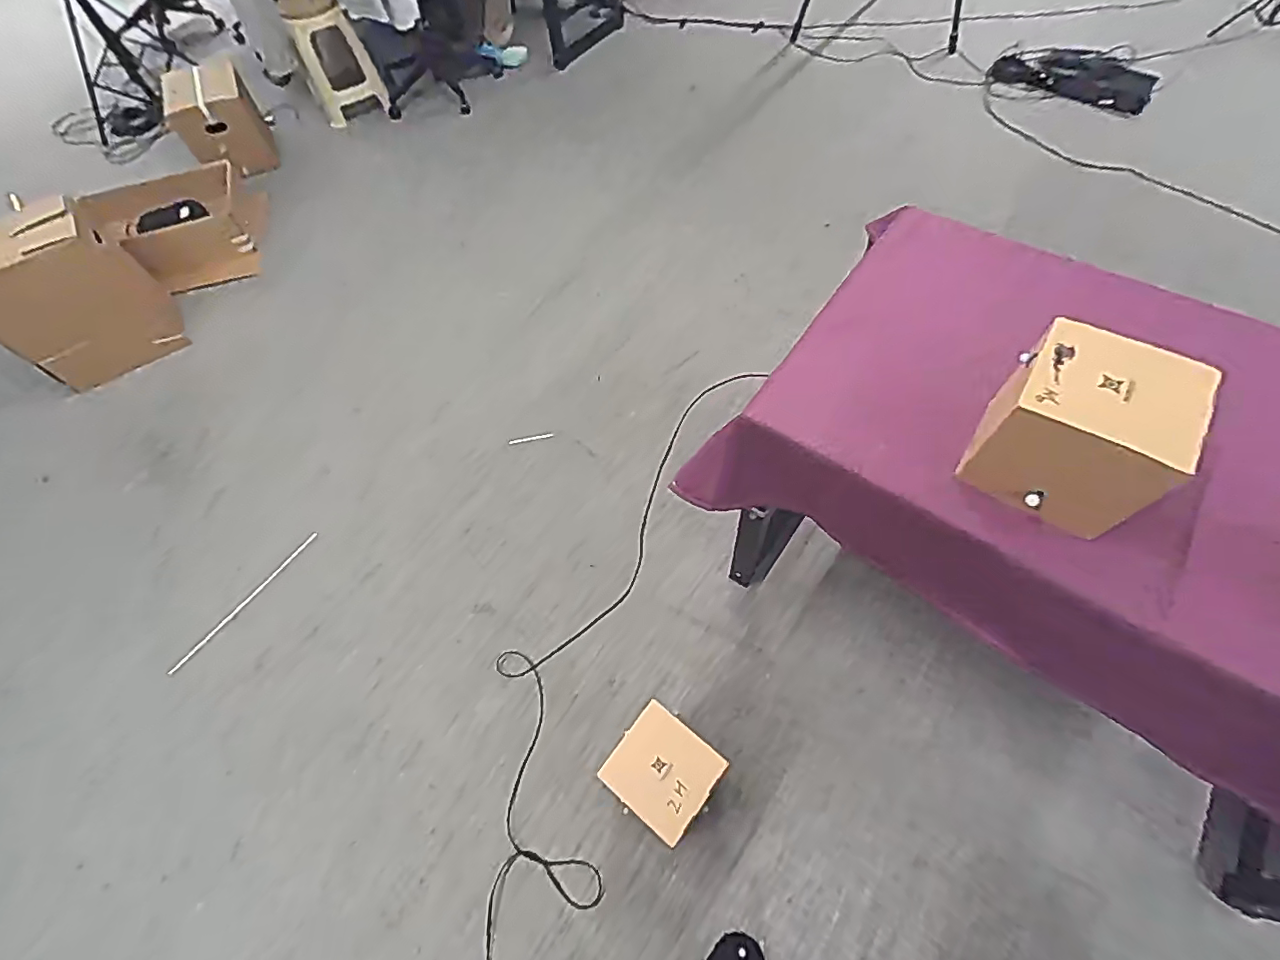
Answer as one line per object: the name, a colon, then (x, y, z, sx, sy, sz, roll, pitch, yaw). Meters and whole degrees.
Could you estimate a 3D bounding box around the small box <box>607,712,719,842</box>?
small box: (0.053, 0.638, 1.165, 0.168, 0.176, 0.179, 33, 66, 21)

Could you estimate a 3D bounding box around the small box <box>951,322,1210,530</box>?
small box: (0.540, -0.058, 0.684, 0.179, 0.176, 0.168, 30, 66, 19)
